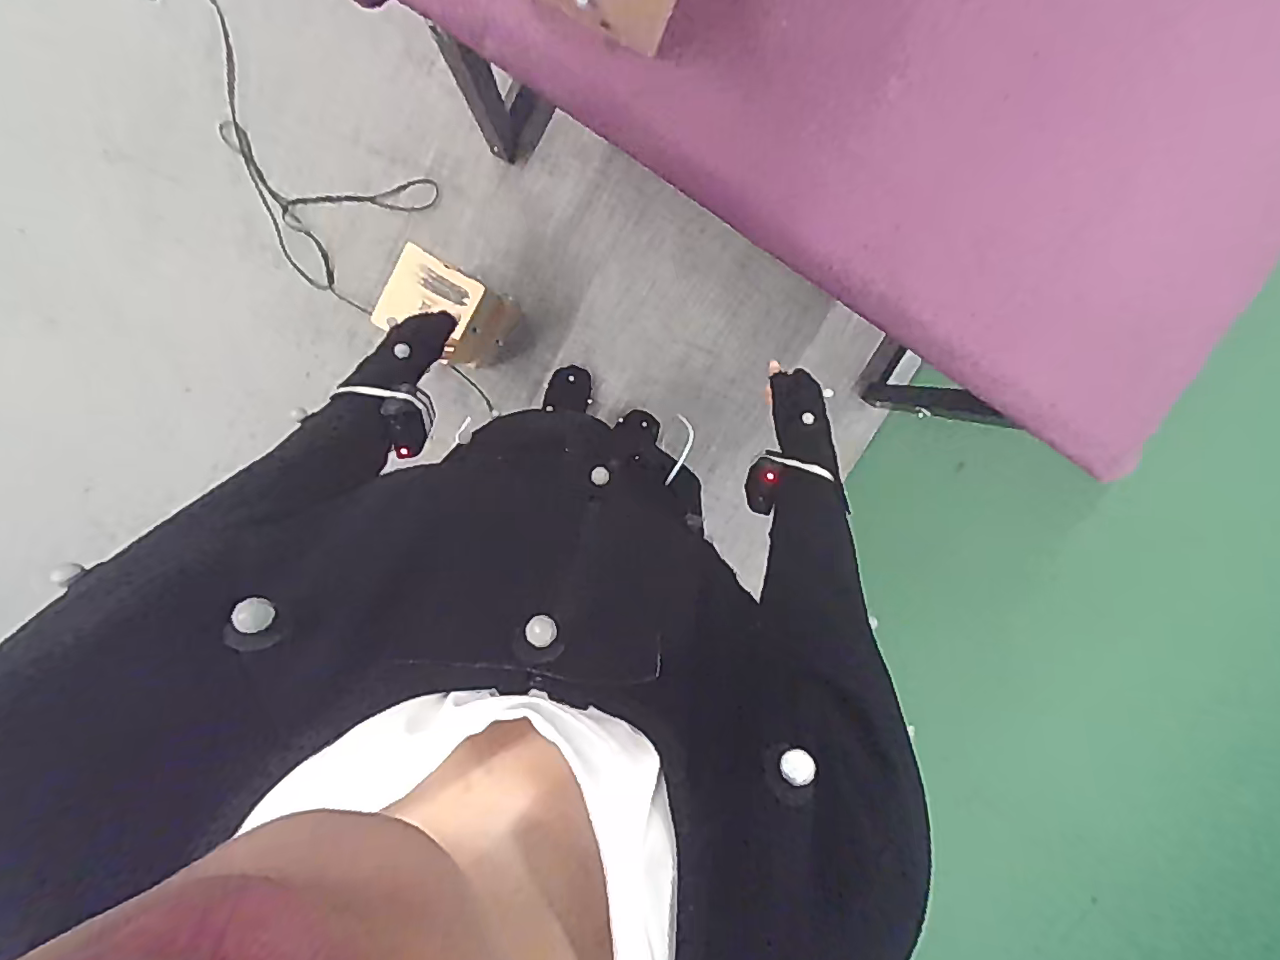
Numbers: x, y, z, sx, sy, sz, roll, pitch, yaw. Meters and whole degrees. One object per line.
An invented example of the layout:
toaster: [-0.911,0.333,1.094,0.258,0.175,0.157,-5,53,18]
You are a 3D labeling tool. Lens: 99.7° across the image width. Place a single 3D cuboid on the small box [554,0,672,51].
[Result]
small box: [-0.019,-0.593,0.533,0.168,0.176,0.179,24,98,-10]
